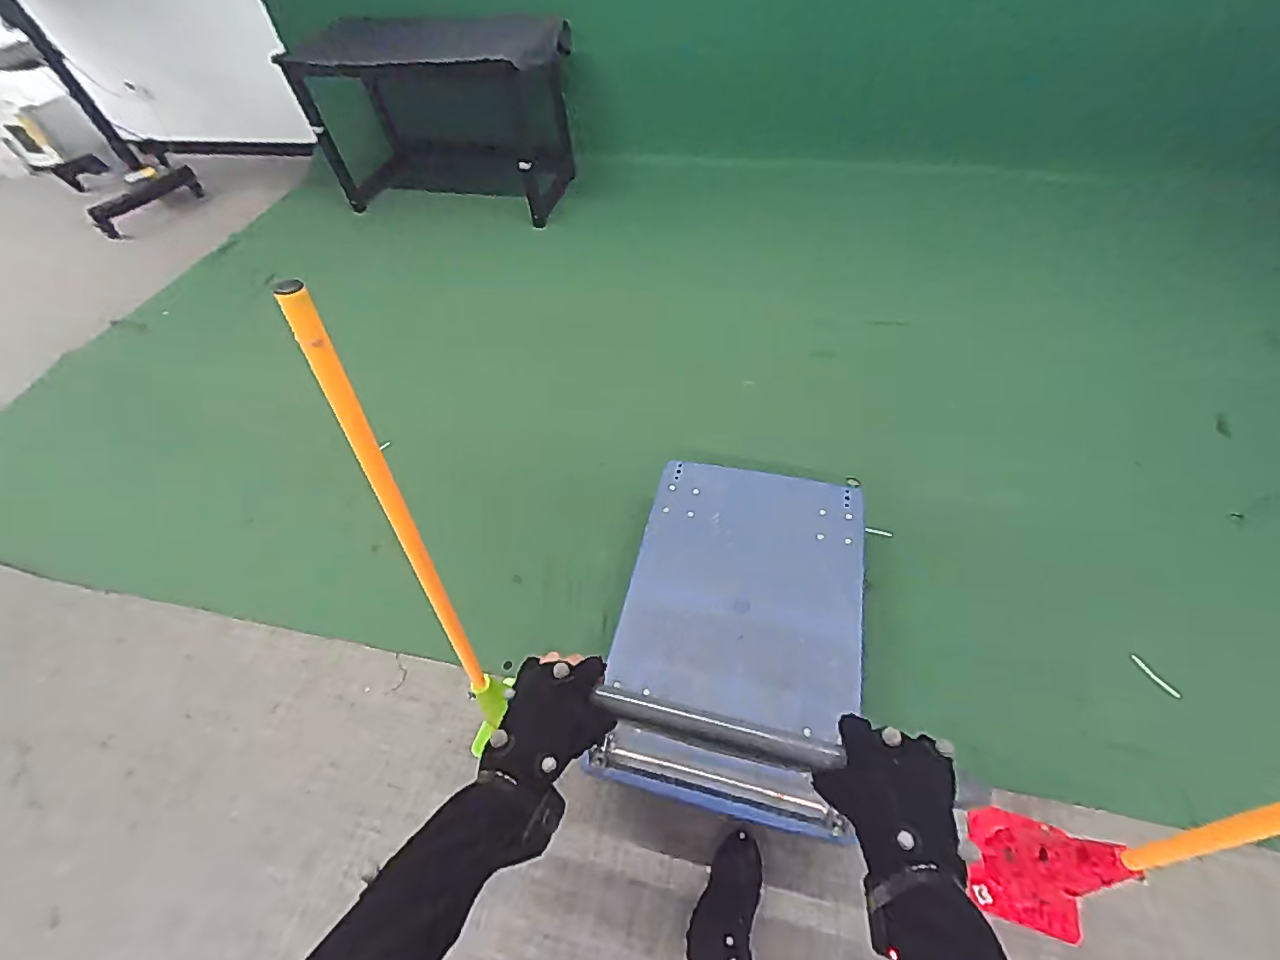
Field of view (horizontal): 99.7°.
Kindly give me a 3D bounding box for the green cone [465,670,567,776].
[{"bbox_3d":[-0.318,0.514,1.240,0.202,0.368,0.200,12,54,14],"label":"green cone"}]
